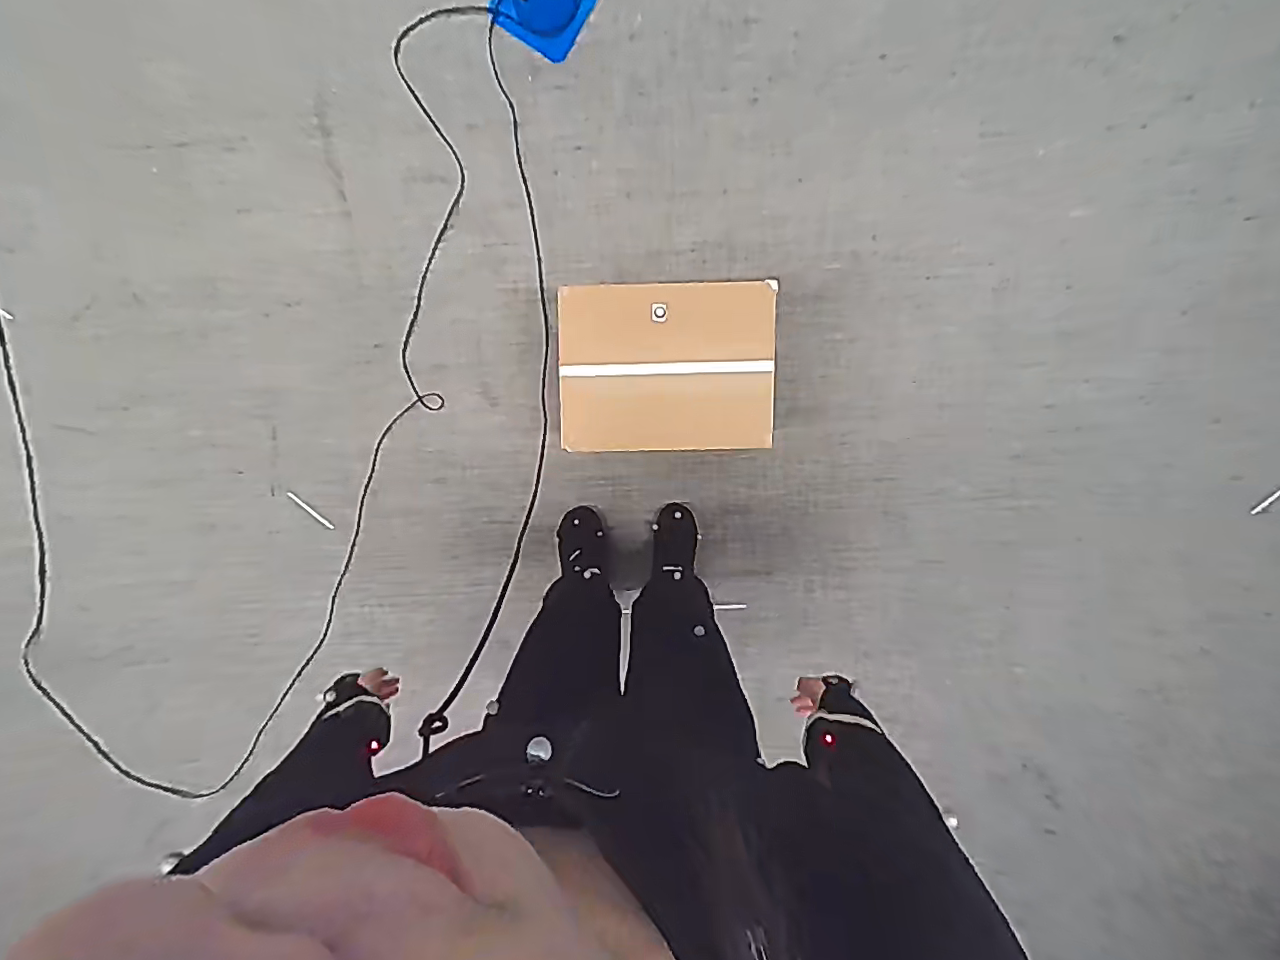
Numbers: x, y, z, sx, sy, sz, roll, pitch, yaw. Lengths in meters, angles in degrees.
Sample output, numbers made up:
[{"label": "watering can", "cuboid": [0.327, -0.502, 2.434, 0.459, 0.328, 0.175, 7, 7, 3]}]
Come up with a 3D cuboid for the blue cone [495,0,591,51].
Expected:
[{"label": "blue cone", "cuboid": [-0.202, -1.033, 1.003, 0.192, 0.380, 0.193, 30, 97, -5]}]
